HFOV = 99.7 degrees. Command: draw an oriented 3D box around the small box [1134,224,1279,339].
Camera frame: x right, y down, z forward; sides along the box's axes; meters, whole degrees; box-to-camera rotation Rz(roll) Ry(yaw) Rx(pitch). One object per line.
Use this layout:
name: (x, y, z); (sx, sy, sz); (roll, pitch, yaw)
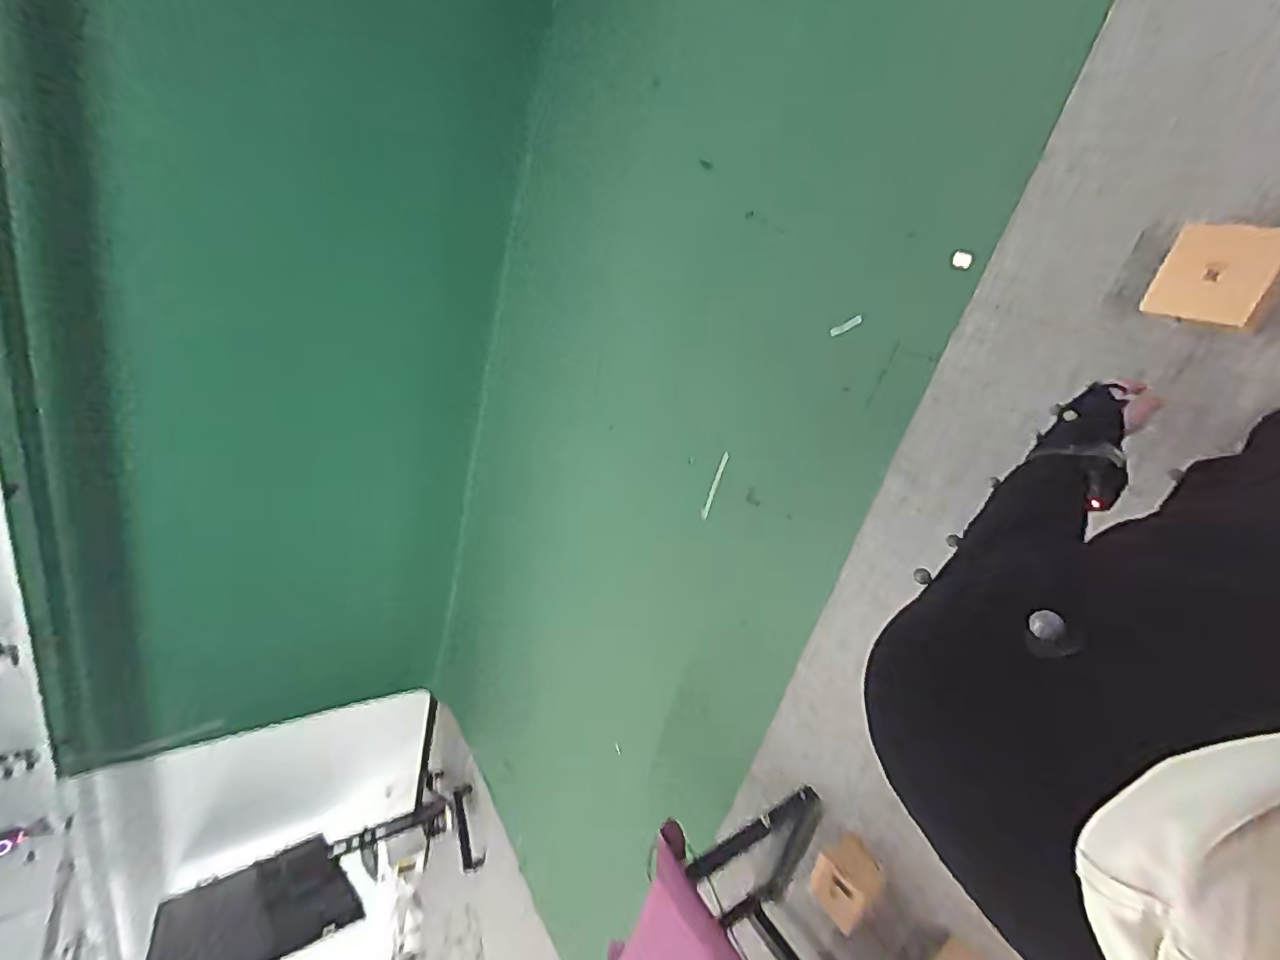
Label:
small box: (1.159, -0.394, 1.089); (0.168, 0.176, 0.179); (36, 117, 45)

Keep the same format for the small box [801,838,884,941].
small box: (0.660, 1.318, 1.755); (0.168, 0.176, 0.179); (33, 117, 46)
